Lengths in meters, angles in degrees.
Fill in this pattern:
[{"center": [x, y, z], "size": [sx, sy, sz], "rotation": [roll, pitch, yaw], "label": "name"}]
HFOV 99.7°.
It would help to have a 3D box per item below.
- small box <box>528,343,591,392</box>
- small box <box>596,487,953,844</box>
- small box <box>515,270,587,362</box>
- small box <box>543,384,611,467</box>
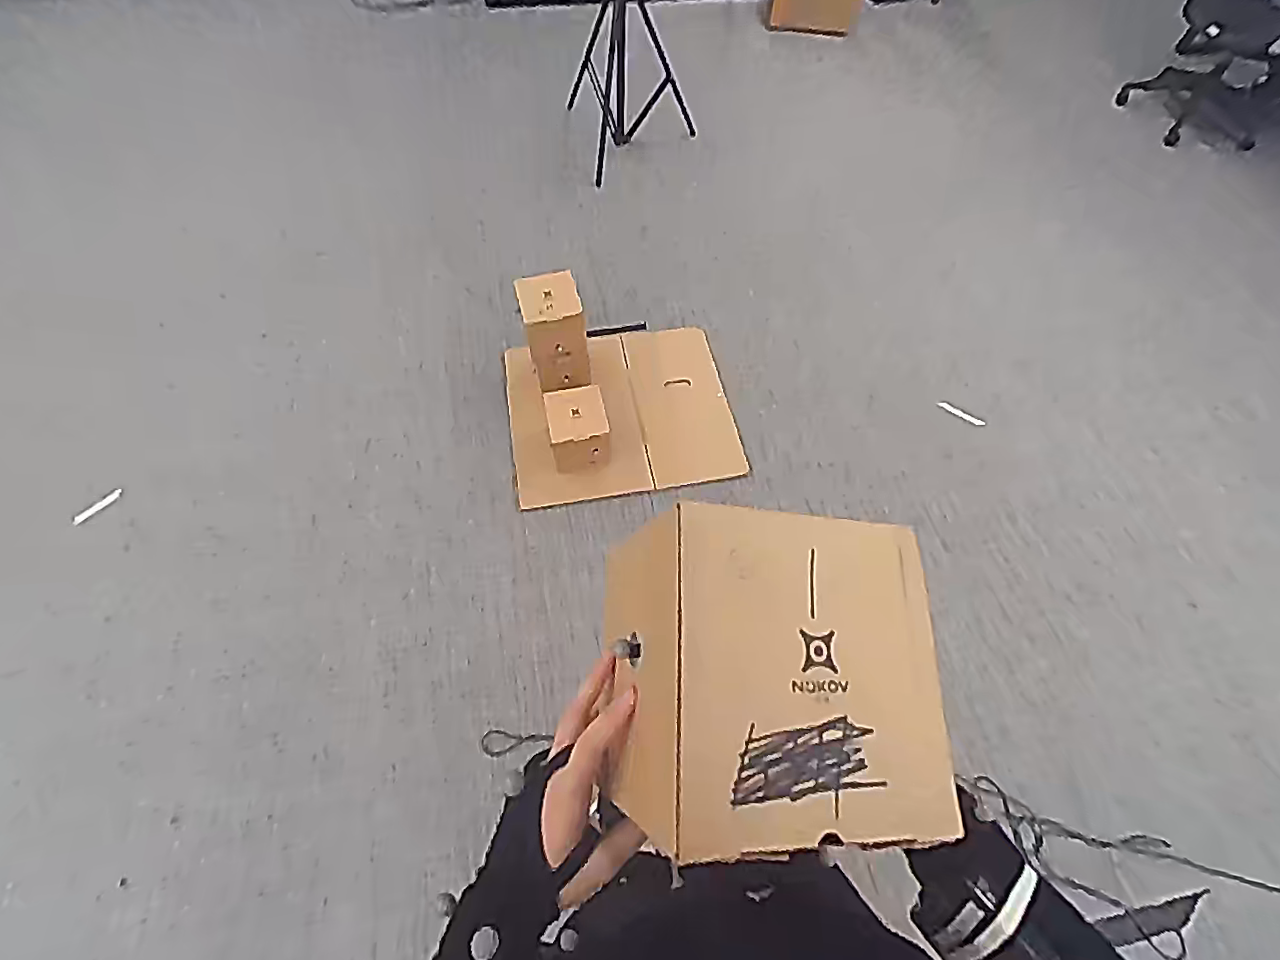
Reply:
[{"center": [-0.255, -0.393, 1.709], "size": [0.168, 0.176, 0.179], "rotation": [-15, 64, -11], "label": "small box"}, {"center": [0.070, 0.119, 0.369], "size": [0.168, 0.176, 0.179], "rotation": [7, 69, -16], "label": "small box"}, {"center": [-0.254, -0.472, 1.564], "size": [0.168, 0.176, 0.179], "rotation": [-14, 63, -9], "label": "small box"}, {"center": [-0.181, -0.151, 1.583], "size": [0.168, 0.176, 0.179], "rotation": [-11, 62, -9], "label": "small box"}]
